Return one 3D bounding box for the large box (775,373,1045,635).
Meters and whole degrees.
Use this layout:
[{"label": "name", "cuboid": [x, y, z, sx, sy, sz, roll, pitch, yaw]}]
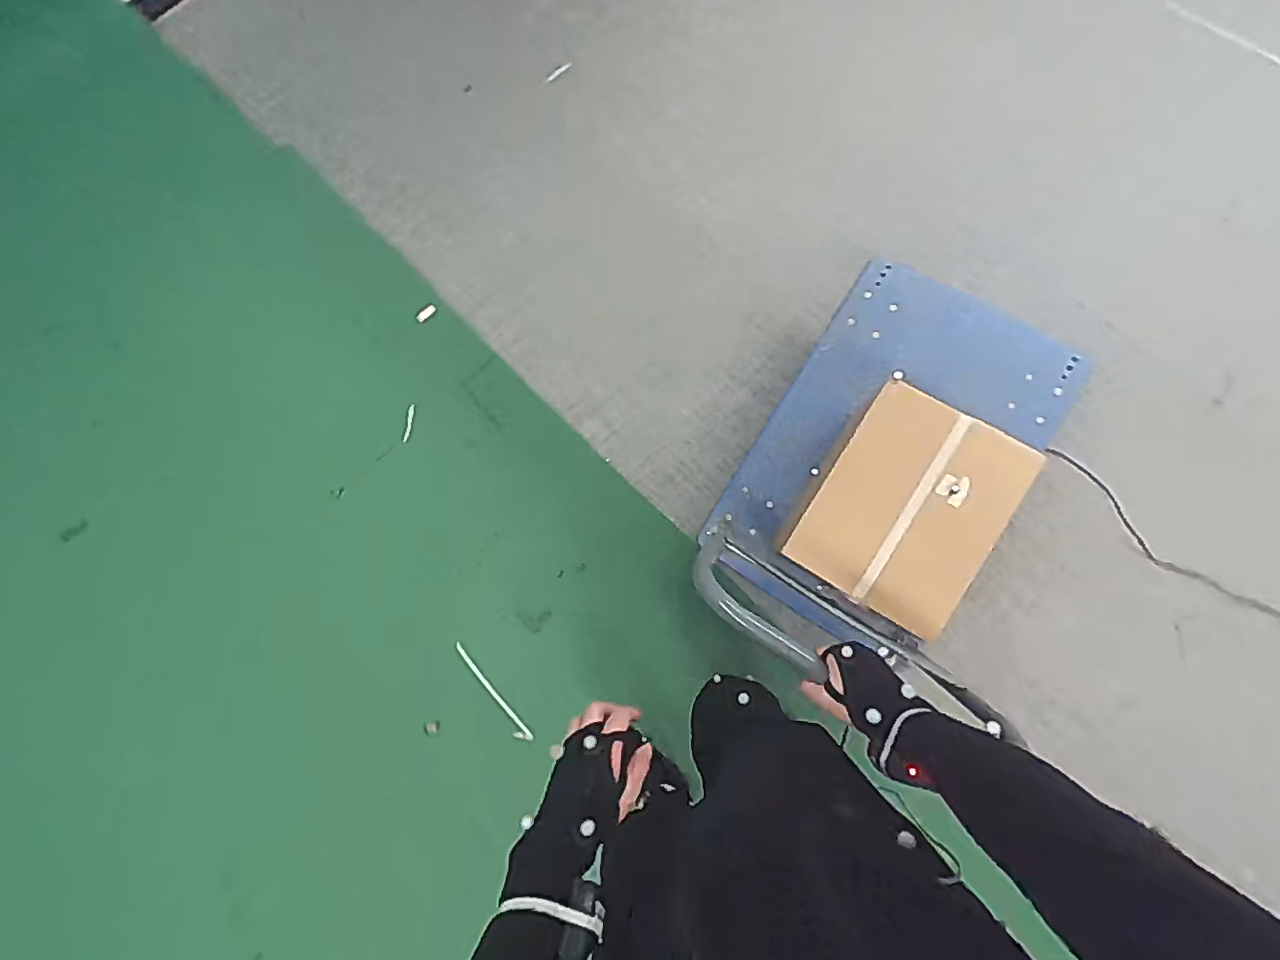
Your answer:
[{"label": "large box", "cuboid": [0.529, 0.057, 1.148, 0.320, 0.320, 0.408, 32, 88, 10]}]
